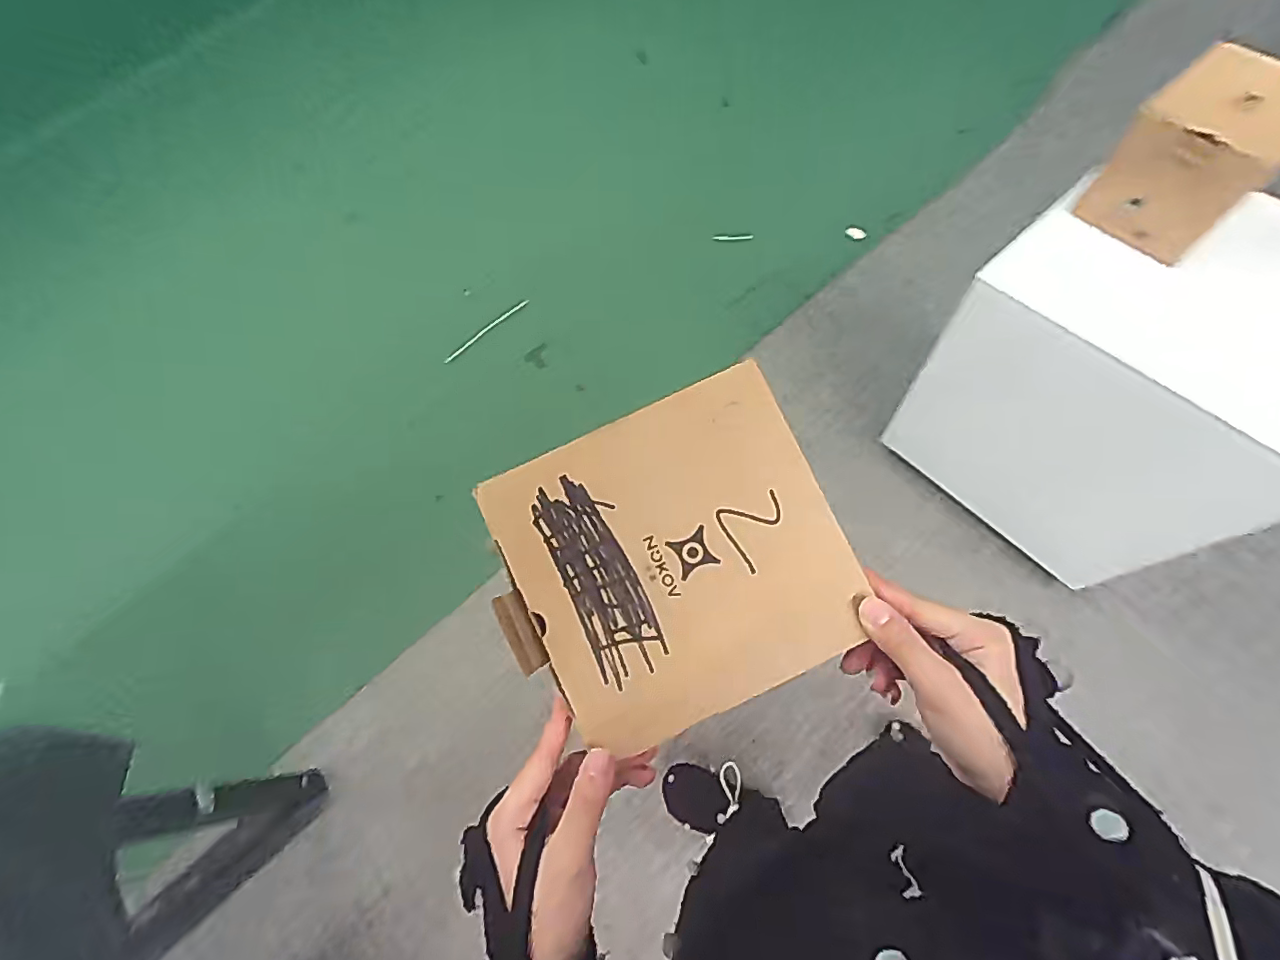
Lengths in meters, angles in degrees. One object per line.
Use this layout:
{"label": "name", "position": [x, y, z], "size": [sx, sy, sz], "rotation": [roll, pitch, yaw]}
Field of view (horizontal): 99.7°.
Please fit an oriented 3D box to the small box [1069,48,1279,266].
{"label": "small box", "position": [0.772, -0.449, 0.767], "size": [0.179, 0.176, 0.168], "rotation": [-41, 69, -9]}
